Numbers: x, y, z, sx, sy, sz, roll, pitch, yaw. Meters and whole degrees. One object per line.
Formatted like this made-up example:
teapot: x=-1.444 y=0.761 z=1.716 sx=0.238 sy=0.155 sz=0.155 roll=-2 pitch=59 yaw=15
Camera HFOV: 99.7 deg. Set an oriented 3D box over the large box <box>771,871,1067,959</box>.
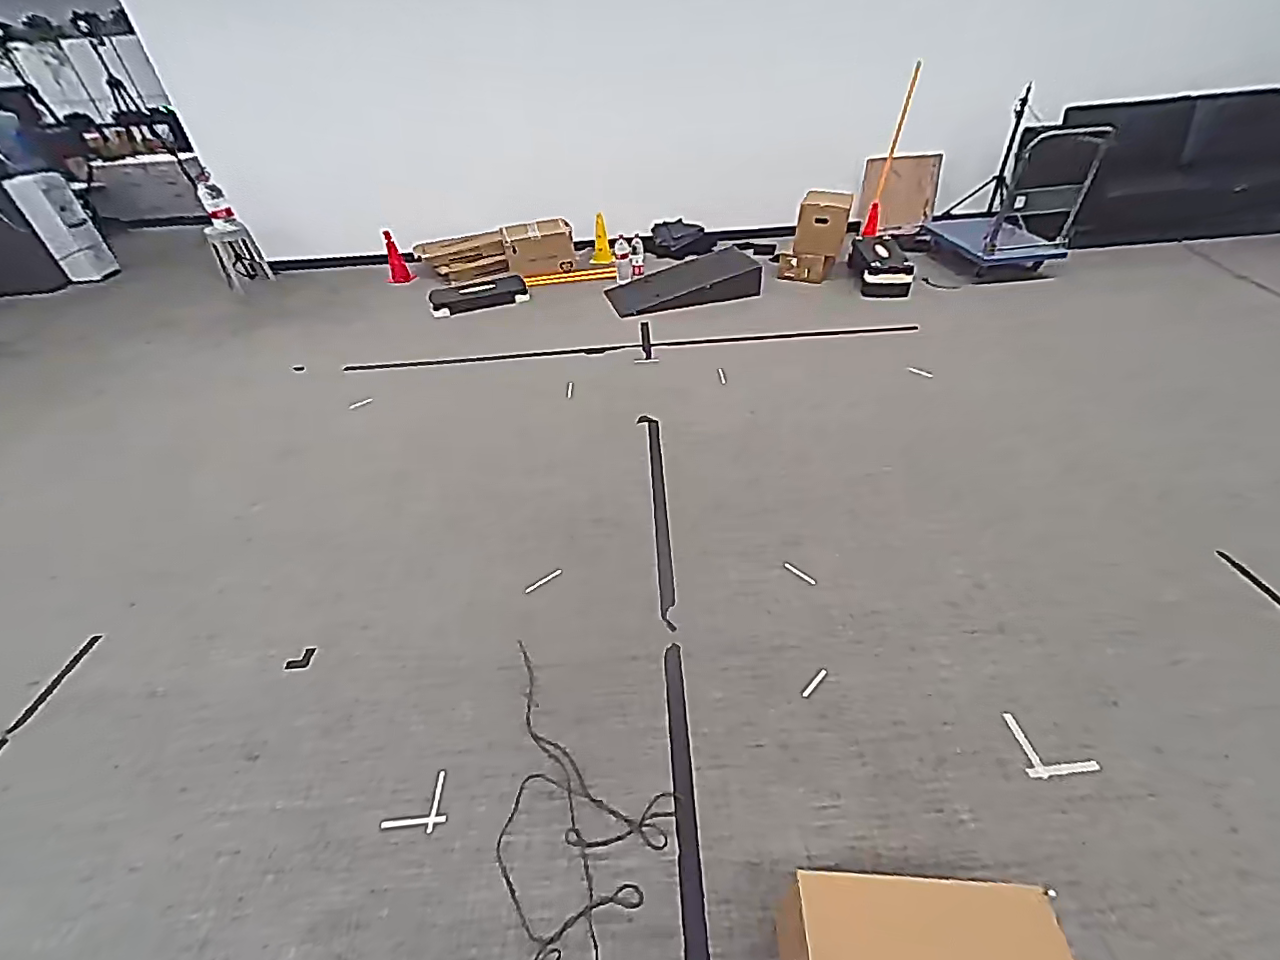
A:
large box: x=0.453 y=0.885 z=0.887 sx=0.408 sy=0.320 sz=0.320 roll=1 pitch=39 yaw=4
